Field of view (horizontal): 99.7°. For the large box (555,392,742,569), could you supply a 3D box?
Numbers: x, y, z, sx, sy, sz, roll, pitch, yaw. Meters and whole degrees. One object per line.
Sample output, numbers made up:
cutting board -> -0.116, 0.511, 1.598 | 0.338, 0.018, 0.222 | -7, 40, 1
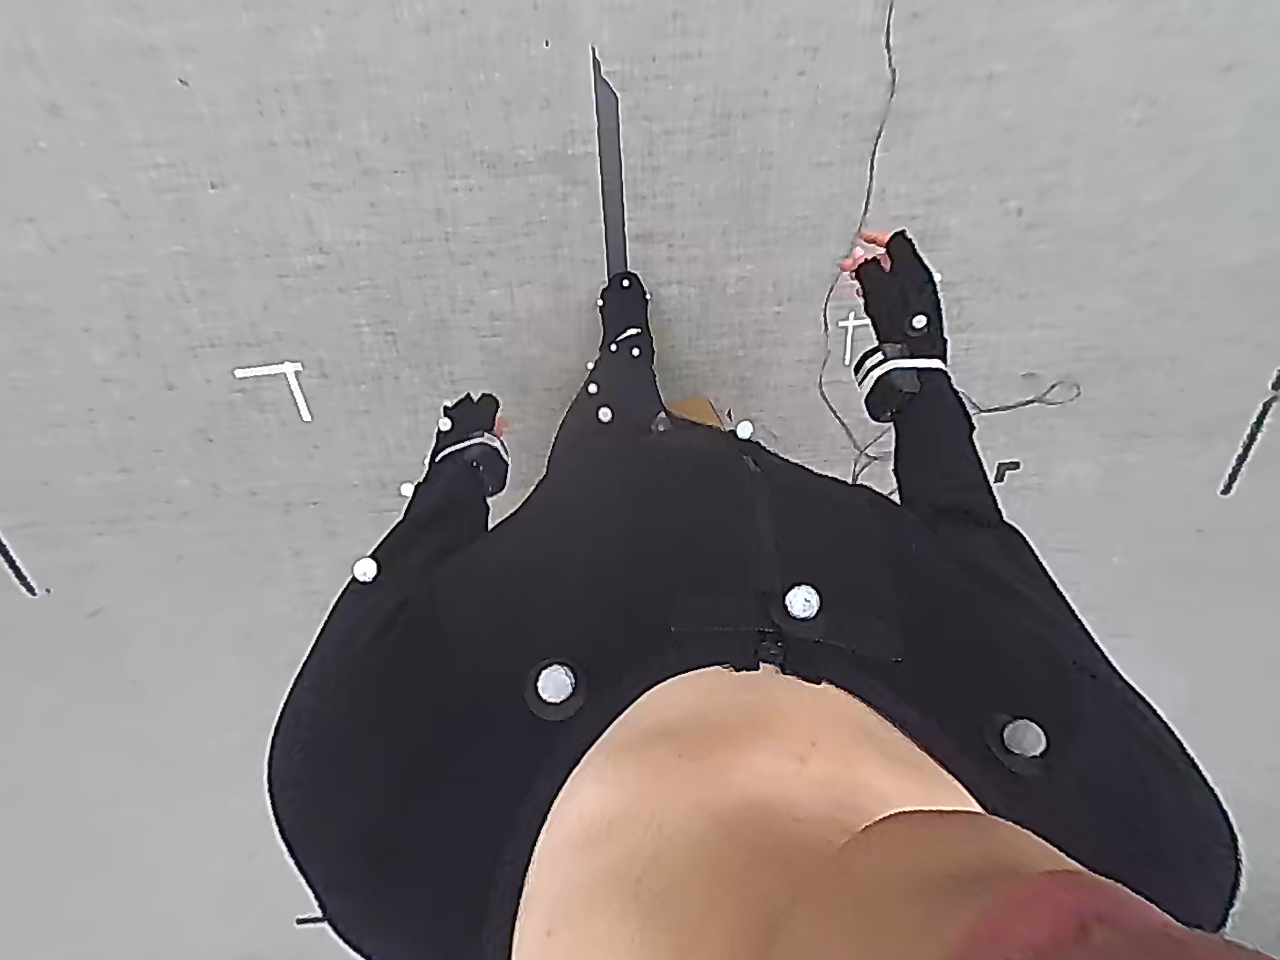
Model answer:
large box -> 0.019, -0.011, 1.417 | 0.408, 0.320, 0.320 | -12, 115, 2
